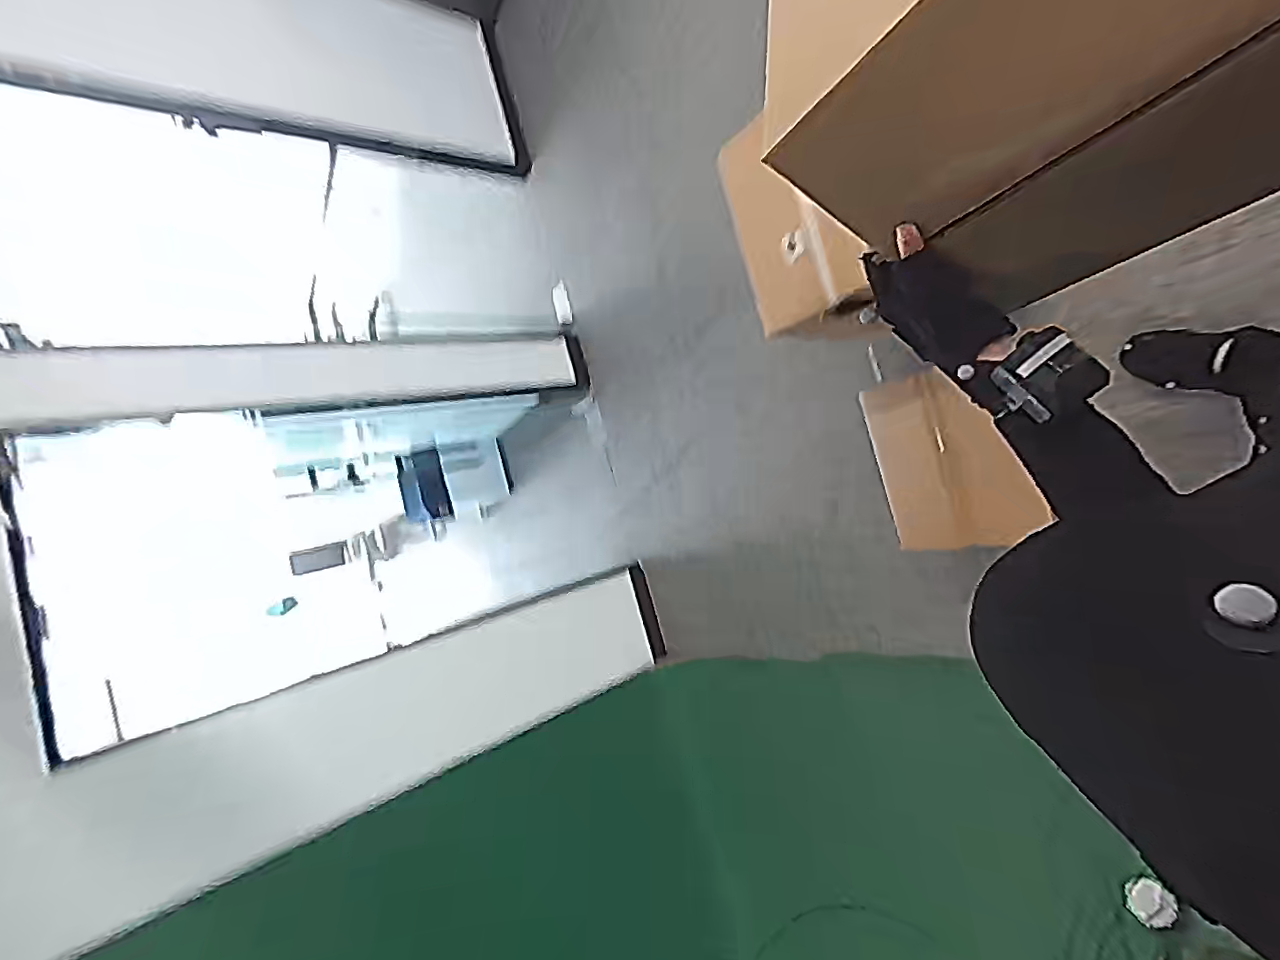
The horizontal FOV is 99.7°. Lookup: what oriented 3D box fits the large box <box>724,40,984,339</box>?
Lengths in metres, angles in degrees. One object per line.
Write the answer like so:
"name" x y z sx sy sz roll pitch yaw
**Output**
"large box" 0.428 -0.534 1.089 0.320 0.320 0.408 -19 84 49
